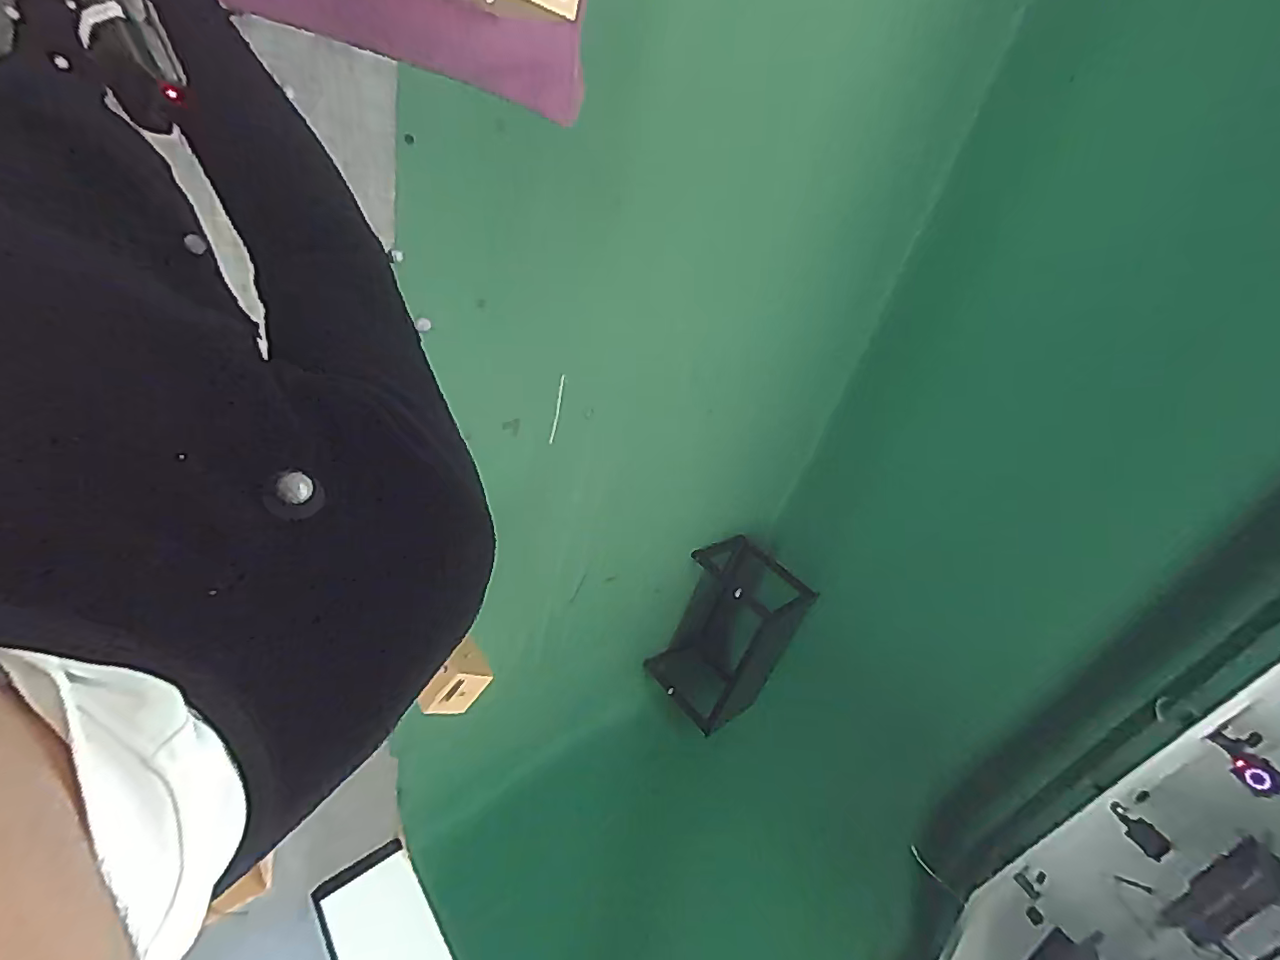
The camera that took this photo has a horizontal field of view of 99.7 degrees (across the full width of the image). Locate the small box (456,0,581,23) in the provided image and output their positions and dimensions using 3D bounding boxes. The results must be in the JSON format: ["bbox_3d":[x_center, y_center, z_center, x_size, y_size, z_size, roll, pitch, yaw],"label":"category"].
[{"bbox_3d":[-0.166,-0.642,0.594,0.168,0.176,0.179,-13,129,-41],"label":"small box"}]
